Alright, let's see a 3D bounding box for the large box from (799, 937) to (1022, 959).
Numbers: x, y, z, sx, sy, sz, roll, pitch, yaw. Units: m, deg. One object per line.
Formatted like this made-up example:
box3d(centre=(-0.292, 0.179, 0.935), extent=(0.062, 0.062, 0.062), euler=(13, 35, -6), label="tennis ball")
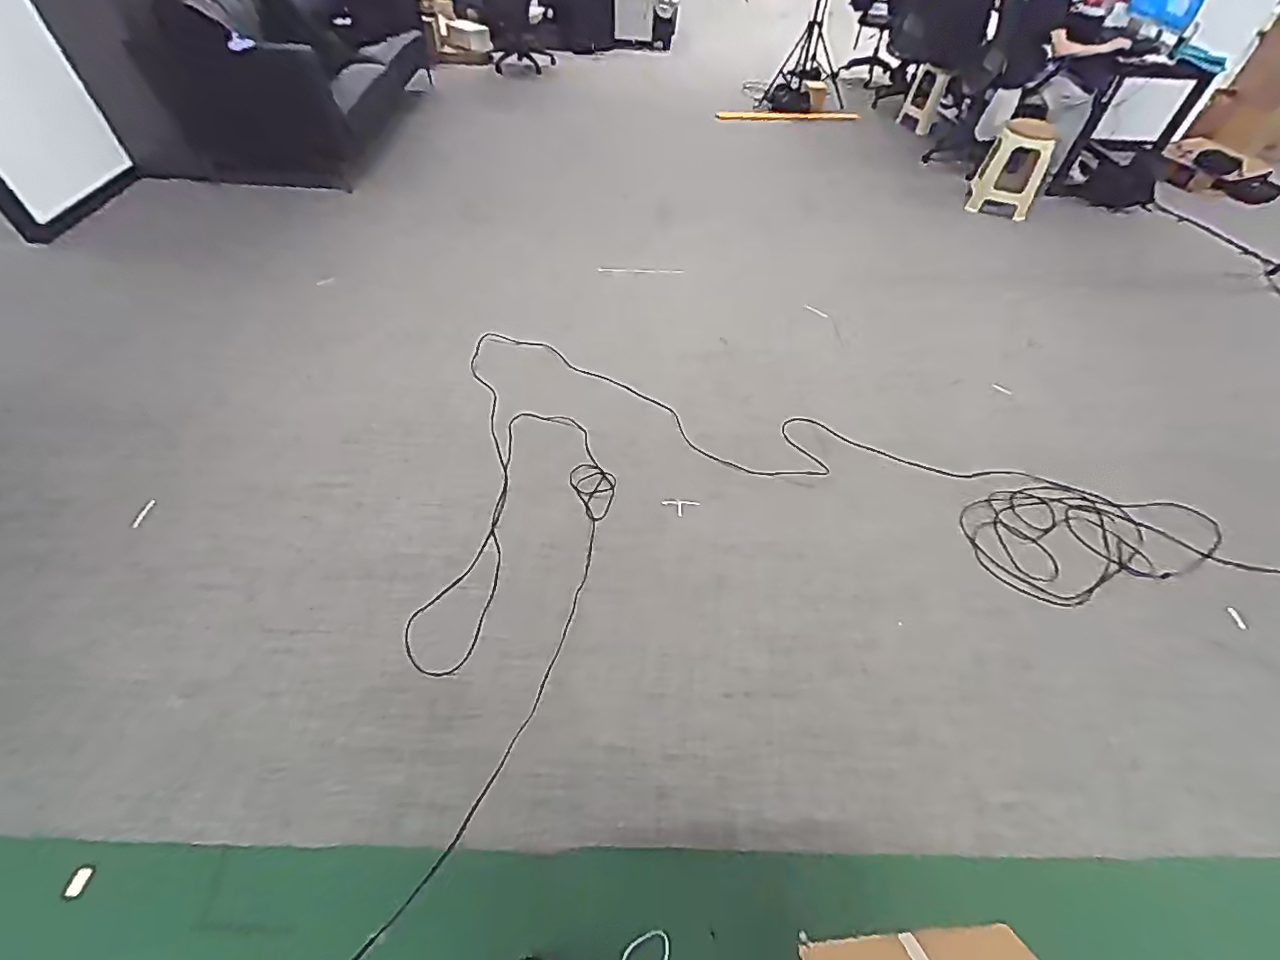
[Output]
box3d(centre=(0.399, 0.819, 0.584), extent=(0.320, 0.408, 0.320), euler=(-4, 86, -1), label="large box")
